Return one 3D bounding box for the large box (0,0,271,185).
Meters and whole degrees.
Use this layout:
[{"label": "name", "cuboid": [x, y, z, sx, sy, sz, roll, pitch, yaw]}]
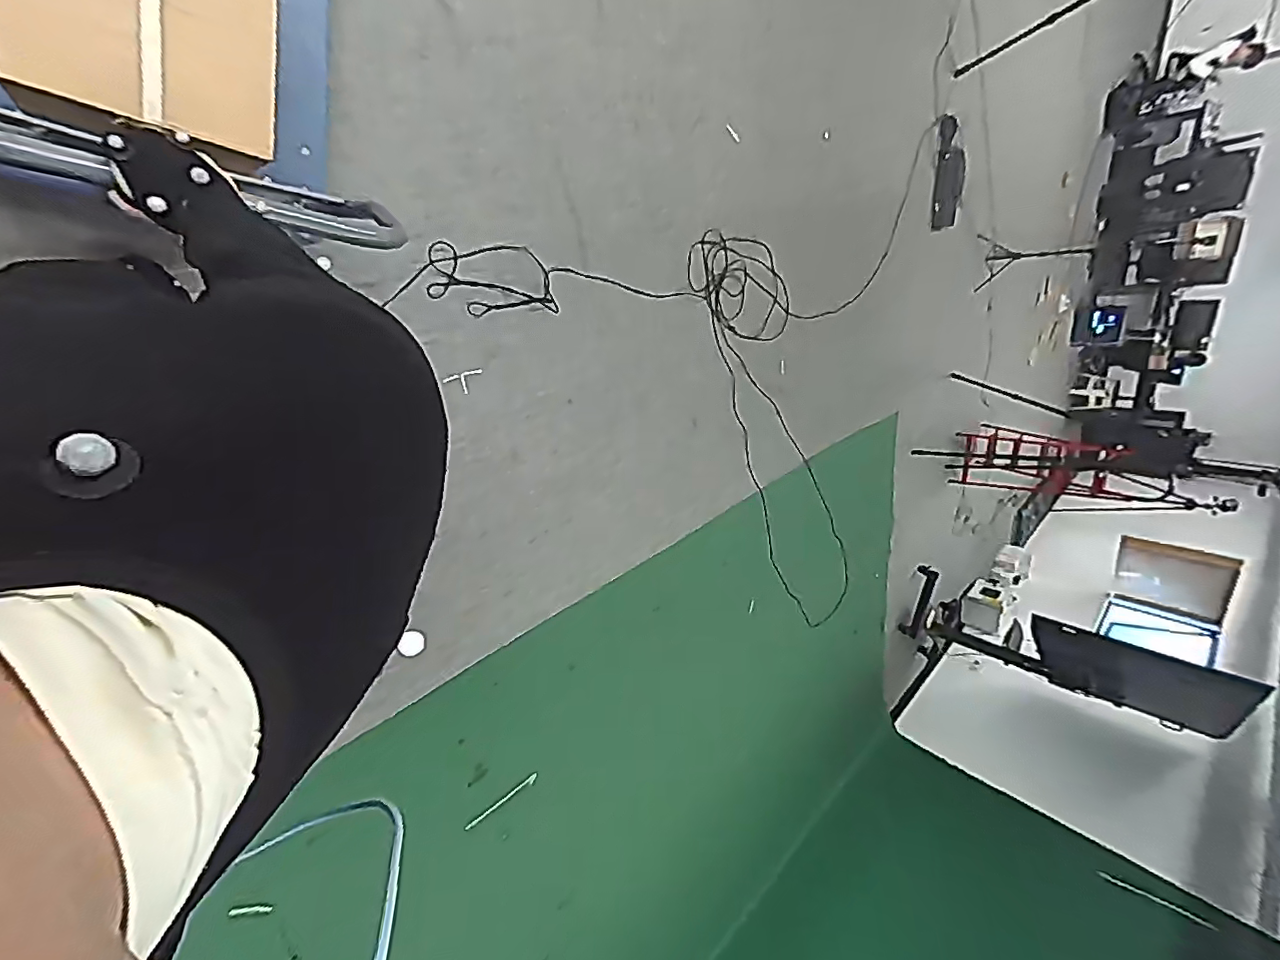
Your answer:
[{"label": "large box", "cuboid": [-0.818, -0.763, 0.888, 0.320, 0.320, 0.408, -2, 106, -43]}]
